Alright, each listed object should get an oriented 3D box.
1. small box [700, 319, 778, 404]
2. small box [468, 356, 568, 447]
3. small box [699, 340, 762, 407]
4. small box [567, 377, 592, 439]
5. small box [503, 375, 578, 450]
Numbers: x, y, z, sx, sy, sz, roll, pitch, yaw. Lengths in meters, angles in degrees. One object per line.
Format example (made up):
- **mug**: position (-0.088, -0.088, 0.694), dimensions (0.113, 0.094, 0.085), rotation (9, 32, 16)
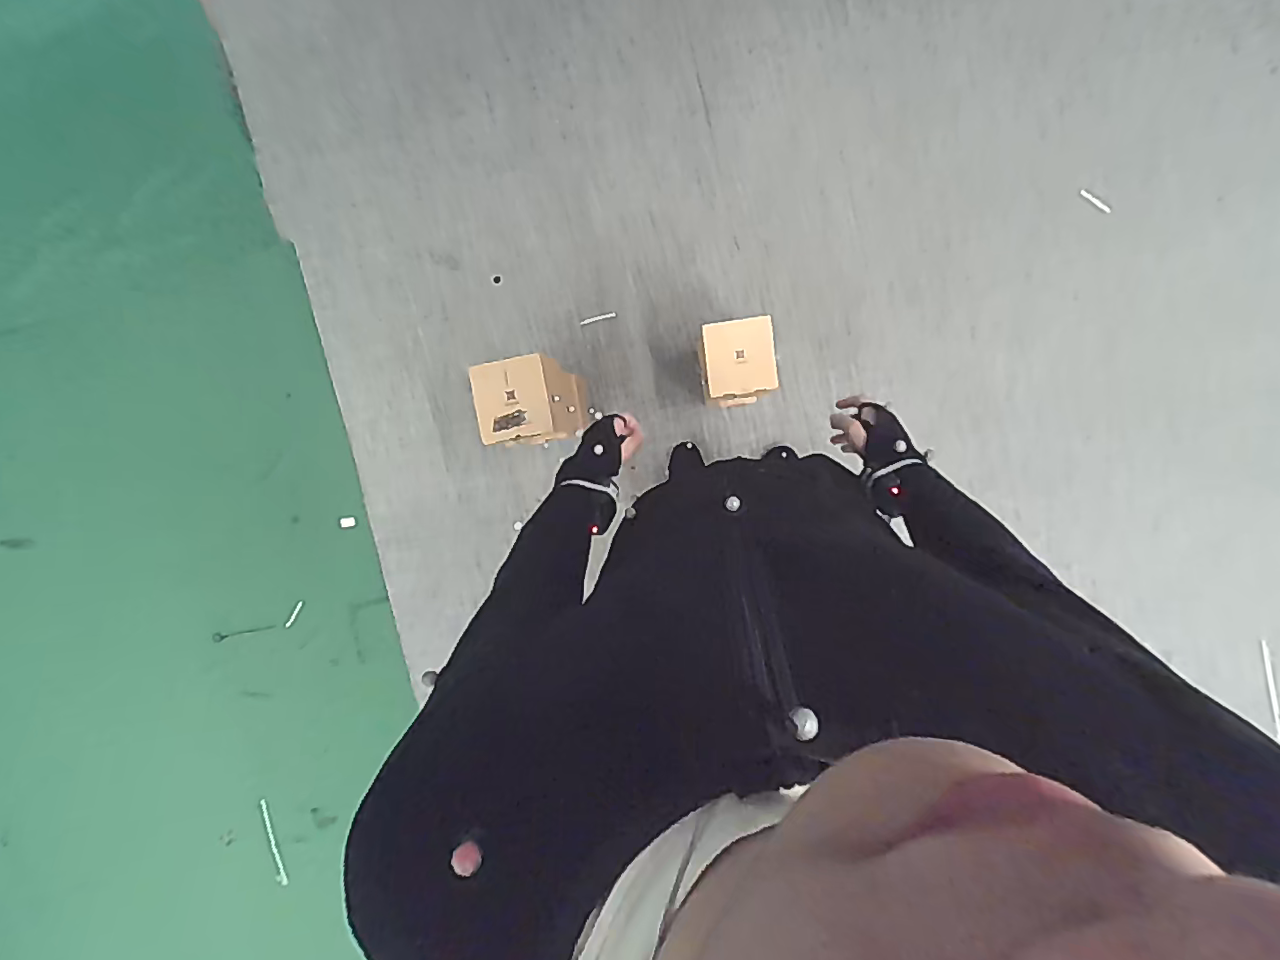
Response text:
- **small box**: position (0.243, -0.291, 1.359), dimensions (0.168, 0.176, 0.179), rotation (-7, 94, 5)
- **small box**: position (-0.273, -0.176, 1.248), dimensions (0.168, 0.176, 0.179), rotation (-9, 93, 6)
- **small box**: position (0.251, -0.299, 1.519), dimensions (0.168, 0.176, 0.179), rotation (-1, 95, 7)
- **small box**: position (-0.248, -0.197, 1.574), dimensions (0.179, 0.176, 0.168), rotation (-8, 94, 5)
- **small box**: position (-0.266, -0.180, 1.413), dimensions (0.168, 0.176, 0.179), rotation (-8, 95, 6)
